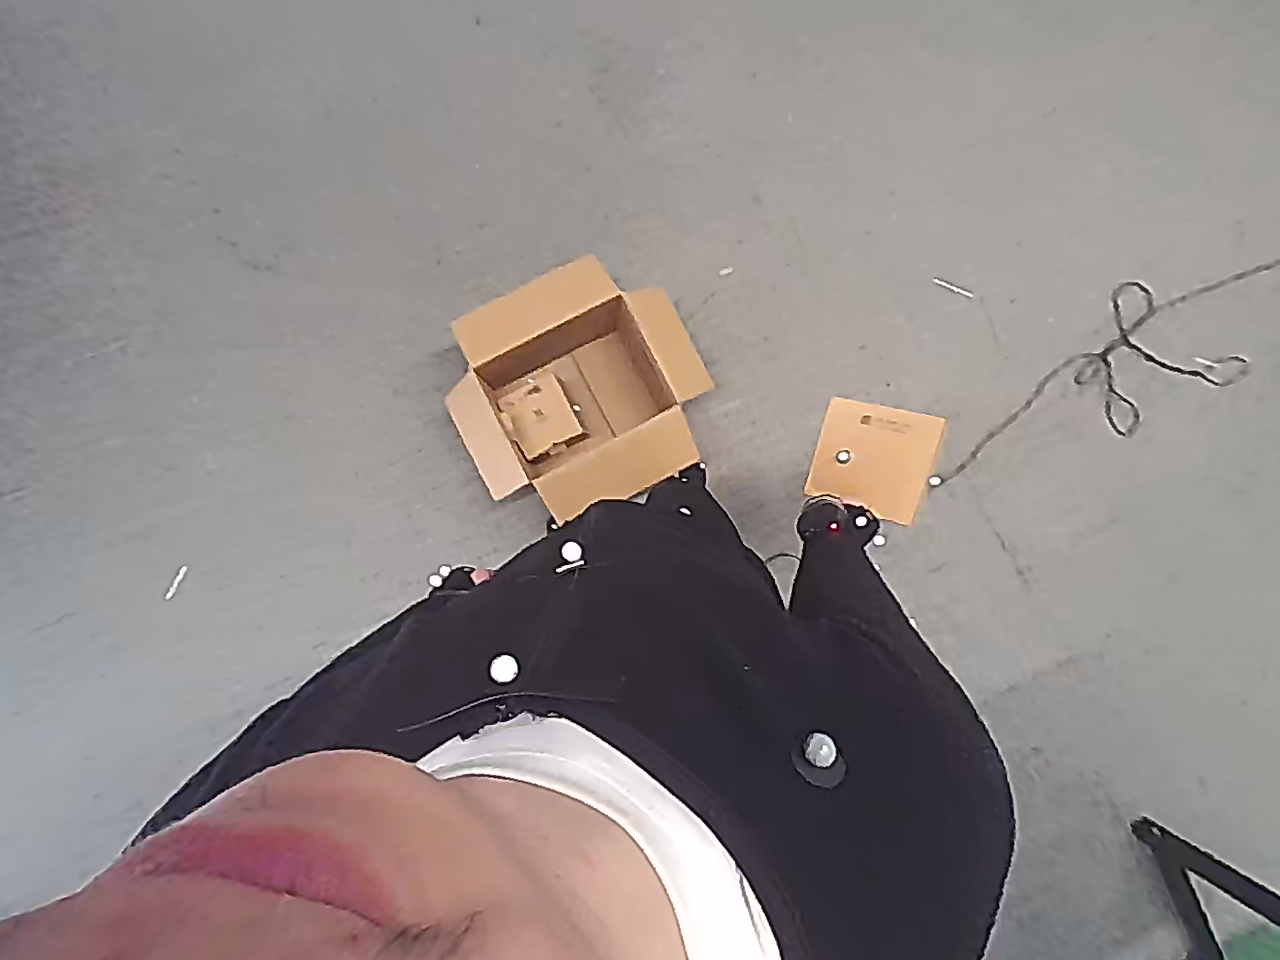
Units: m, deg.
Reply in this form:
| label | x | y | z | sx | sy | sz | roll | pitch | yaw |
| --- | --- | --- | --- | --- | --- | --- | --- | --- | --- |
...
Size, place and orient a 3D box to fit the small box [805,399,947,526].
| label | x | y | z | sx | sy | sz | roll | pitch | yaw |
| --- | --- | --- | --- | --- | --- | --- | --- | --- | --- |
| small box | 0.392 | -0.033 | 0.894 | 0.168 | 0.179 | 0.176 | 19 | 100 | 30 |
